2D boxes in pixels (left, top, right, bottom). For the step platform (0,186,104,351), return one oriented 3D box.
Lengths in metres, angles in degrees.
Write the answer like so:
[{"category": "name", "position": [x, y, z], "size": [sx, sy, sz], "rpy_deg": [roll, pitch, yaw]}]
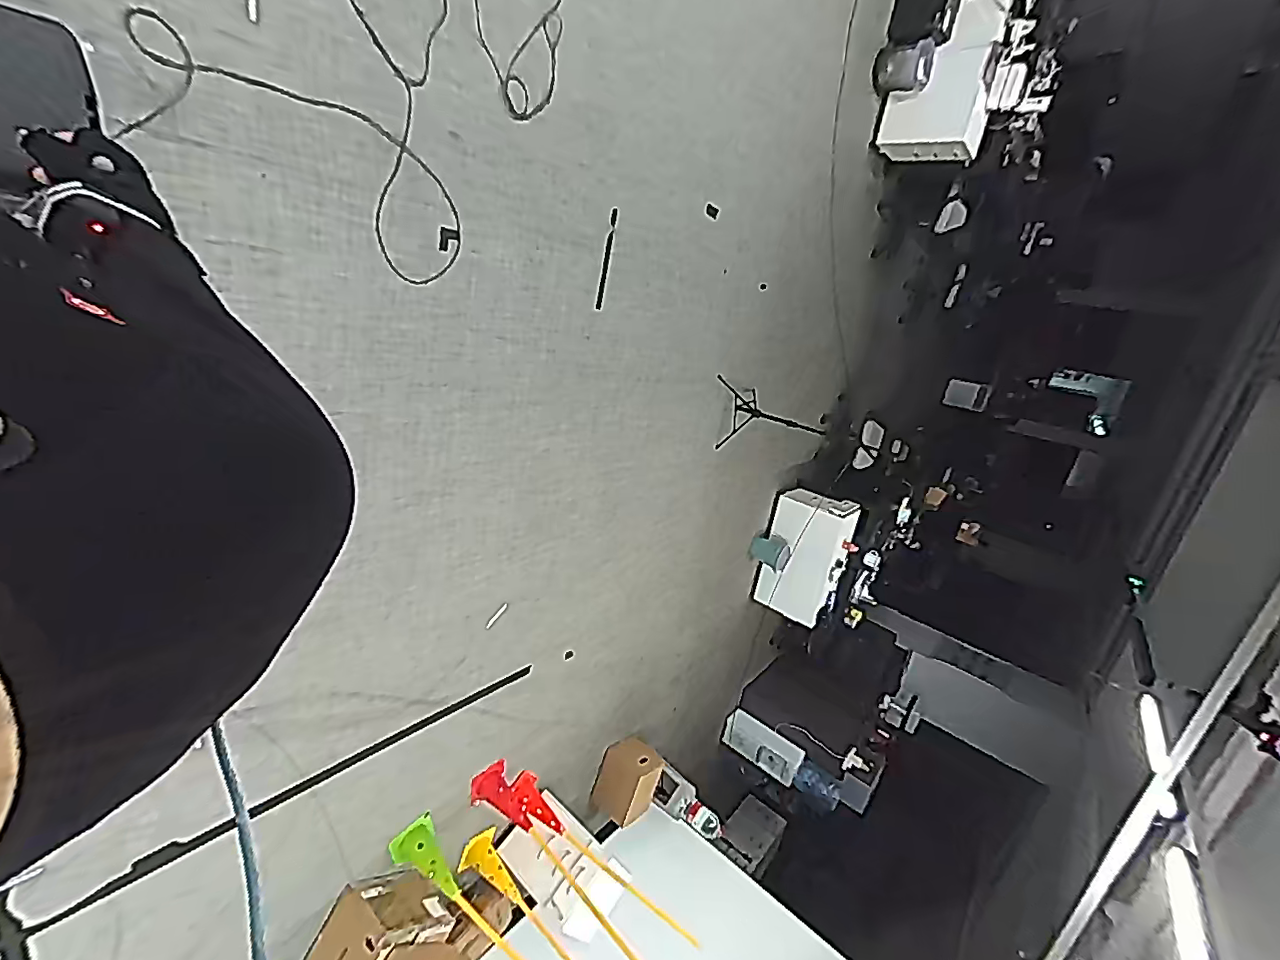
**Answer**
[{"category": "step platform", "position": [-1.319, -0.362, 0.846], "size": [0.684, 0.204, 0.286], "rpy_deg": [-13, 119, -48]}]
